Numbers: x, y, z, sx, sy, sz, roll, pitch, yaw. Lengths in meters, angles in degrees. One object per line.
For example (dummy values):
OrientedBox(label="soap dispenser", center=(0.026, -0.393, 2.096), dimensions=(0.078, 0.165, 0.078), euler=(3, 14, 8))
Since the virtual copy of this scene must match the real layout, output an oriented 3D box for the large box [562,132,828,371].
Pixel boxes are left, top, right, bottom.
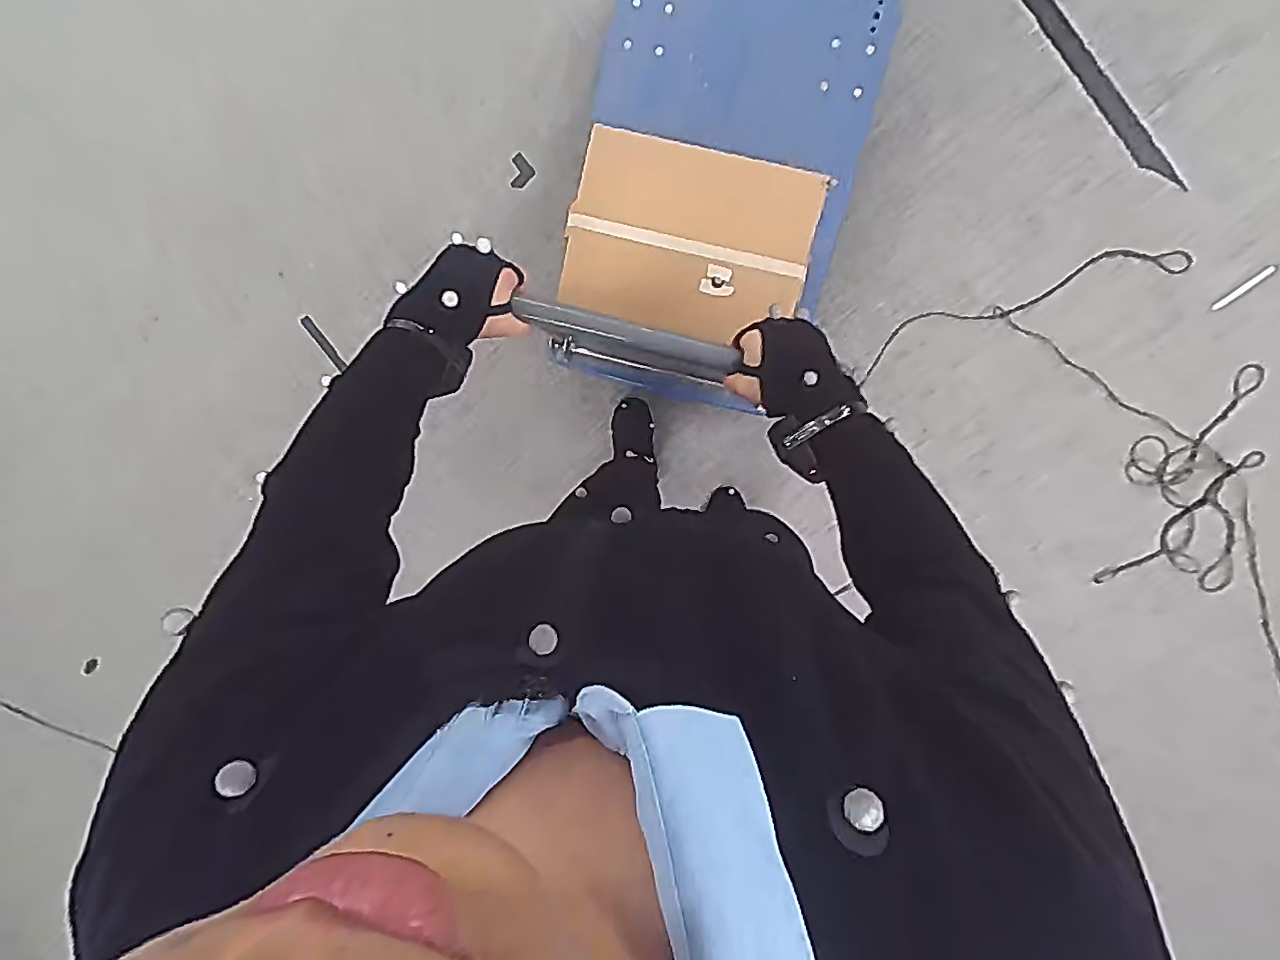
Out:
OrientedBox(label="large box", center=(0.095, -0.417, 1.069), dimensions=(0.408, 0.320, 0.320), euler=(14, 100, 2))
